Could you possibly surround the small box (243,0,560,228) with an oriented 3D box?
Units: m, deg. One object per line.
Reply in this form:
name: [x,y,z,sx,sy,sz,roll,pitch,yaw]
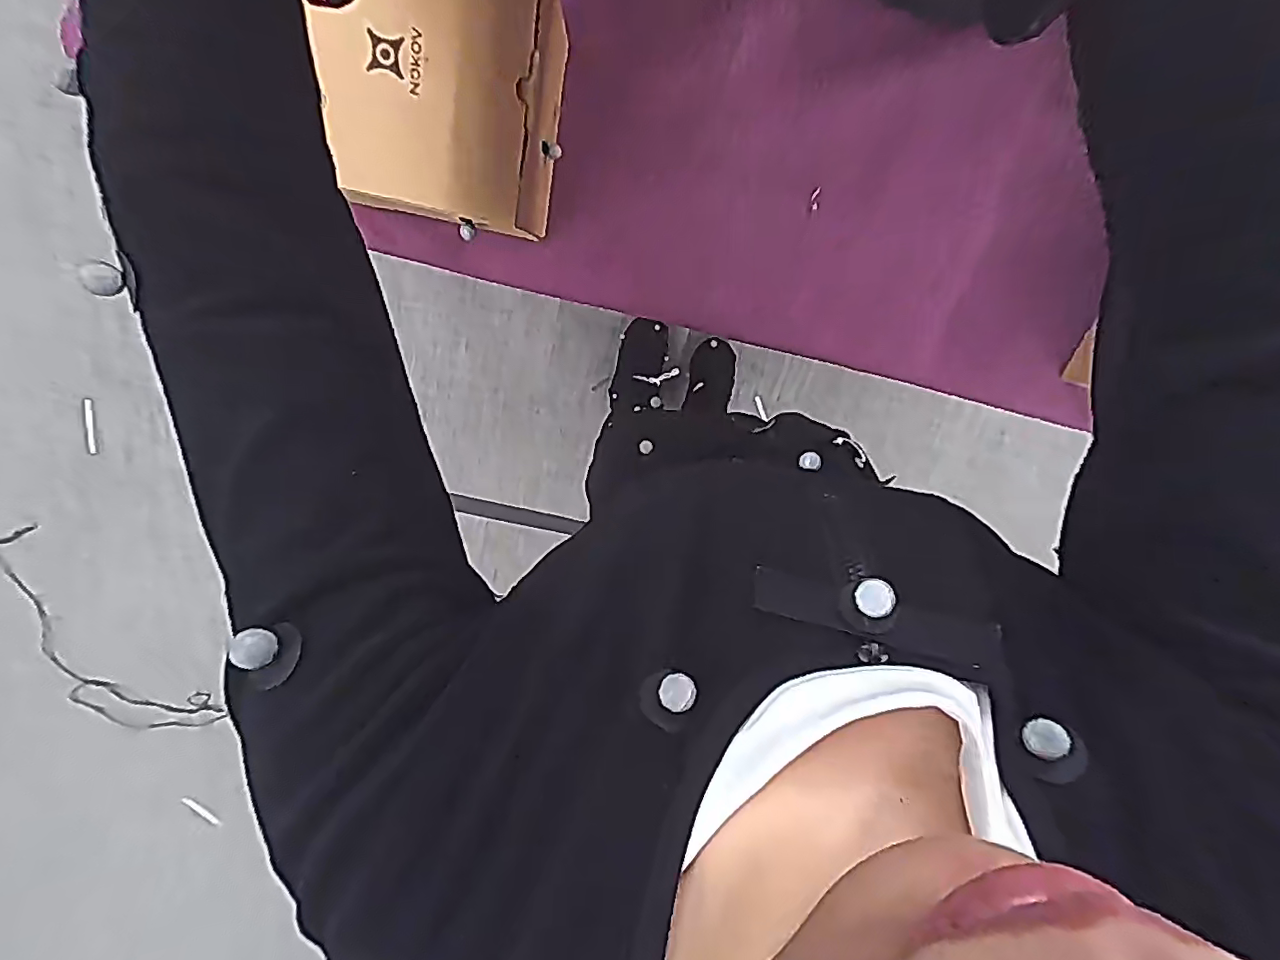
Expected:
small box: [-0.162,-0.299,0.414,0.179,0.176,0.168,8,110,-8]
